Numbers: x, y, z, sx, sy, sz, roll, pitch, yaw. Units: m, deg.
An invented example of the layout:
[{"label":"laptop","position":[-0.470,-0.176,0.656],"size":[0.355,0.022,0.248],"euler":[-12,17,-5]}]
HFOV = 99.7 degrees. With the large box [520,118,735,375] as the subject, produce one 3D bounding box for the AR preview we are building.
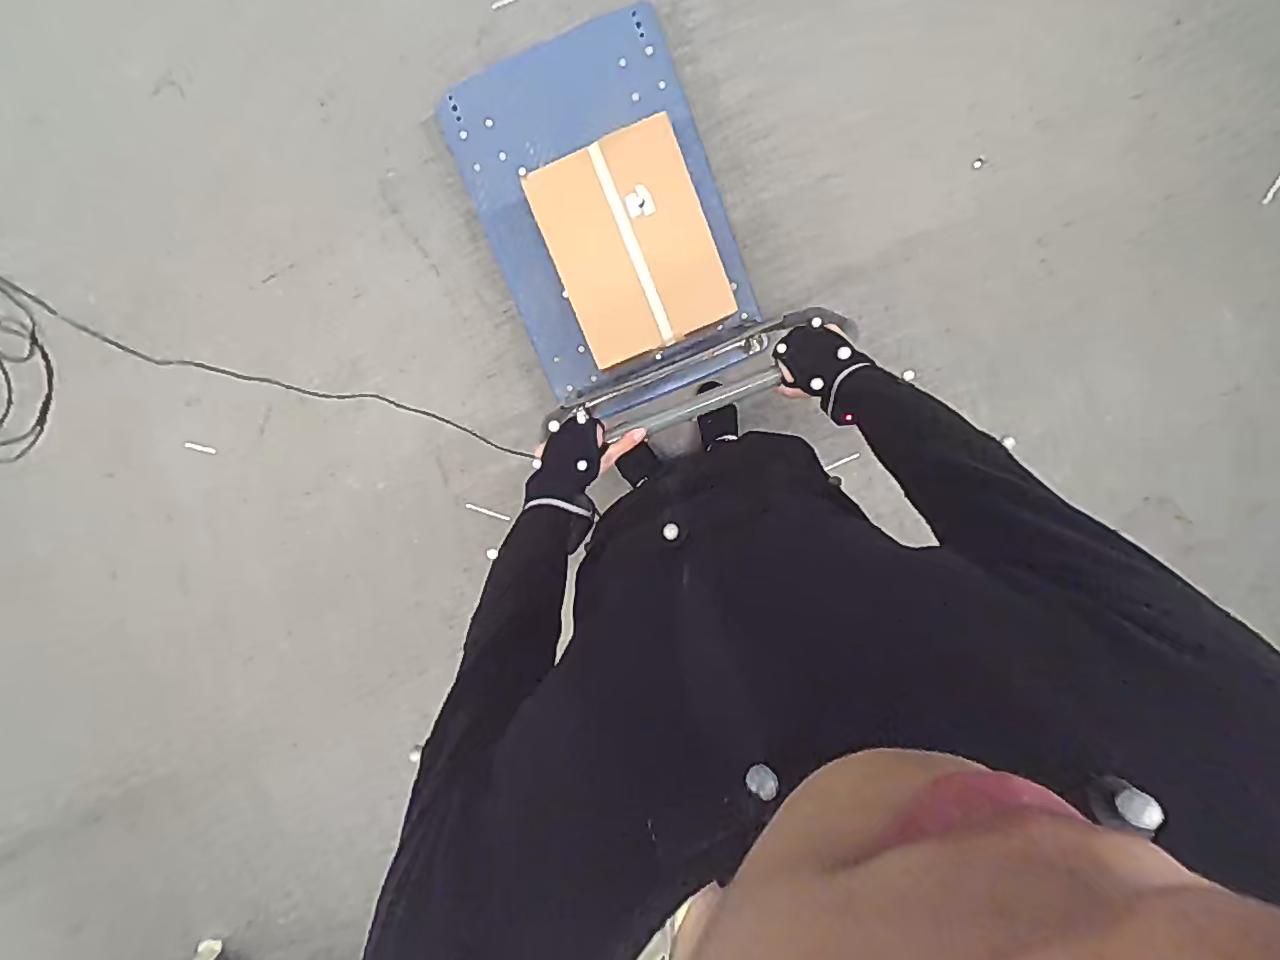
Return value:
[{"label":"large box","position":[-0.018,-0.487,1.229],"size":[0.320,0.320,0.408],"euler":[-22,98,3]}]
